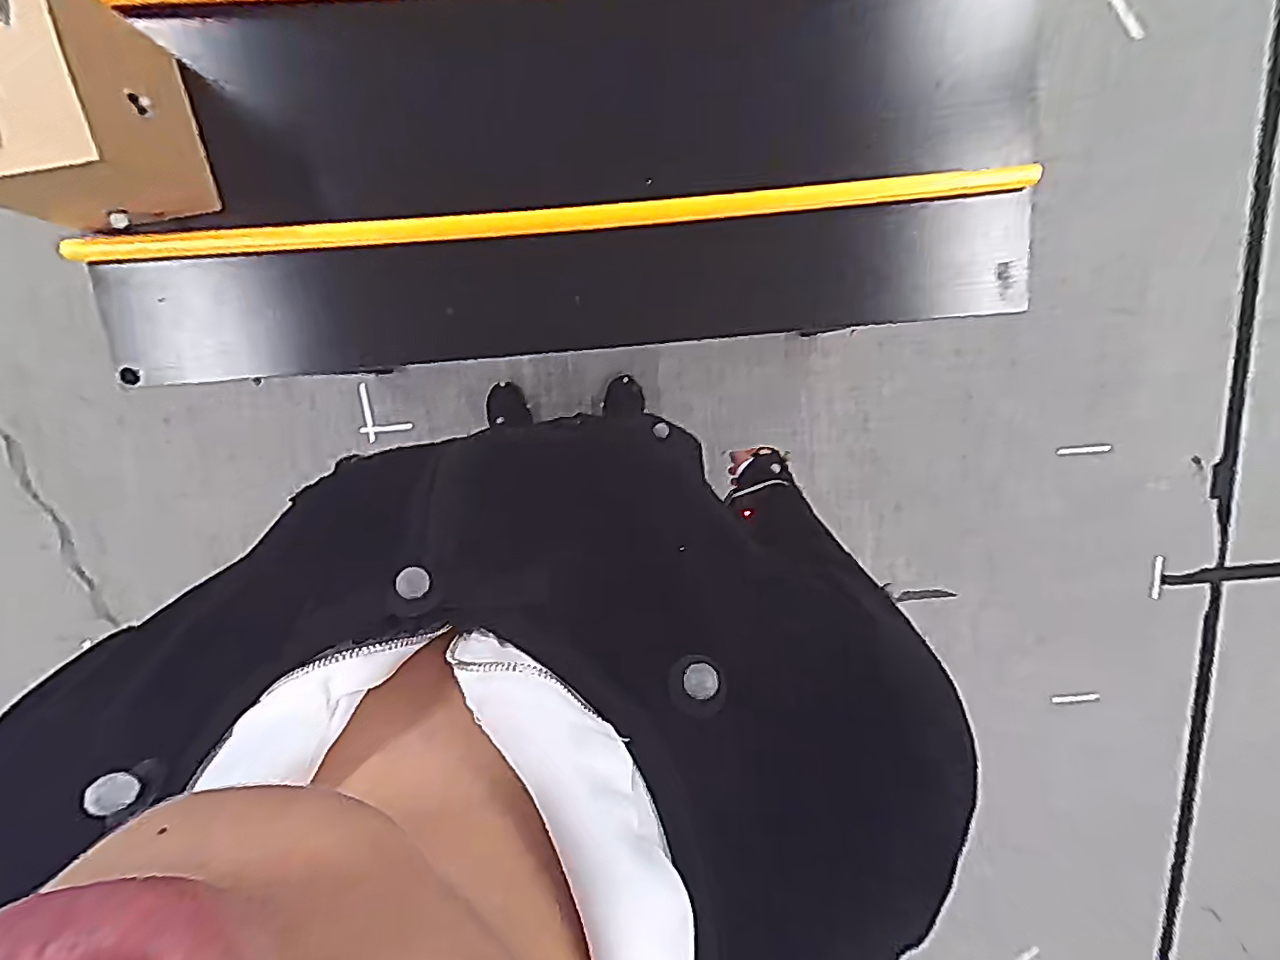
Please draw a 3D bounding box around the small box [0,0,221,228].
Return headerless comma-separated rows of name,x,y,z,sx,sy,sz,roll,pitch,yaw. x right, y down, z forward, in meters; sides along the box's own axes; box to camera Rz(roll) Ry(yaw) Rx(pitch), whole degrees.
small box,-0.600,-0.389,0.570,0.168,0.176,0.179,-10,102,-2
